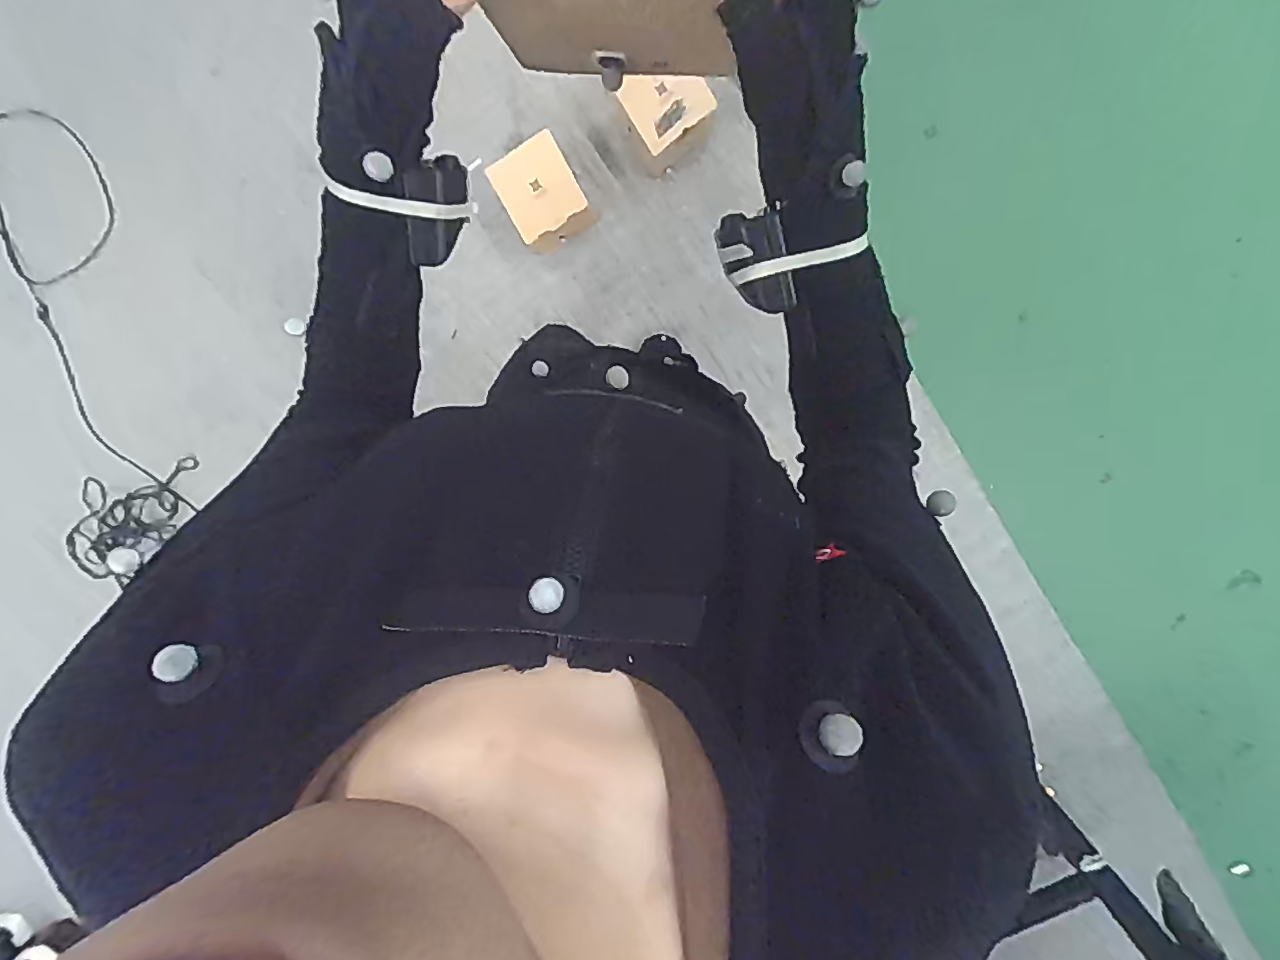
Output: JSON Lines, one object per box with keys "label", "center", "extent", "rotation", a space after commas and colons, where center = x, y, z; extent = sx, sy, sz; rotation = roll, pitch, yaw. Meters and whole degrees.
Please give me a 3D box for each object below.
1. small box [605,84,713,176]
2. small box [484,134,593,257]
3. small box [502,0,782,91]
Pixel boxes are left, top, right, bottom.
{"label": "small box", "center": [0.044, -0.806, 1.194], "extent": [0.168, 0.176, 0.179], "rotation": [-33, 100, 10]}
{"label": "small box", "center": [-0.225, -0.643, 1.247], "extent": [0.168, 0.176, 0.179], "rotation": [-29, 102, 9]}
{"label": "small box", "center": [-0.002, -0.358, 0.313], "extent": [0.168, 0.176, 0.179], "rotation": [2, 112, 1]}
